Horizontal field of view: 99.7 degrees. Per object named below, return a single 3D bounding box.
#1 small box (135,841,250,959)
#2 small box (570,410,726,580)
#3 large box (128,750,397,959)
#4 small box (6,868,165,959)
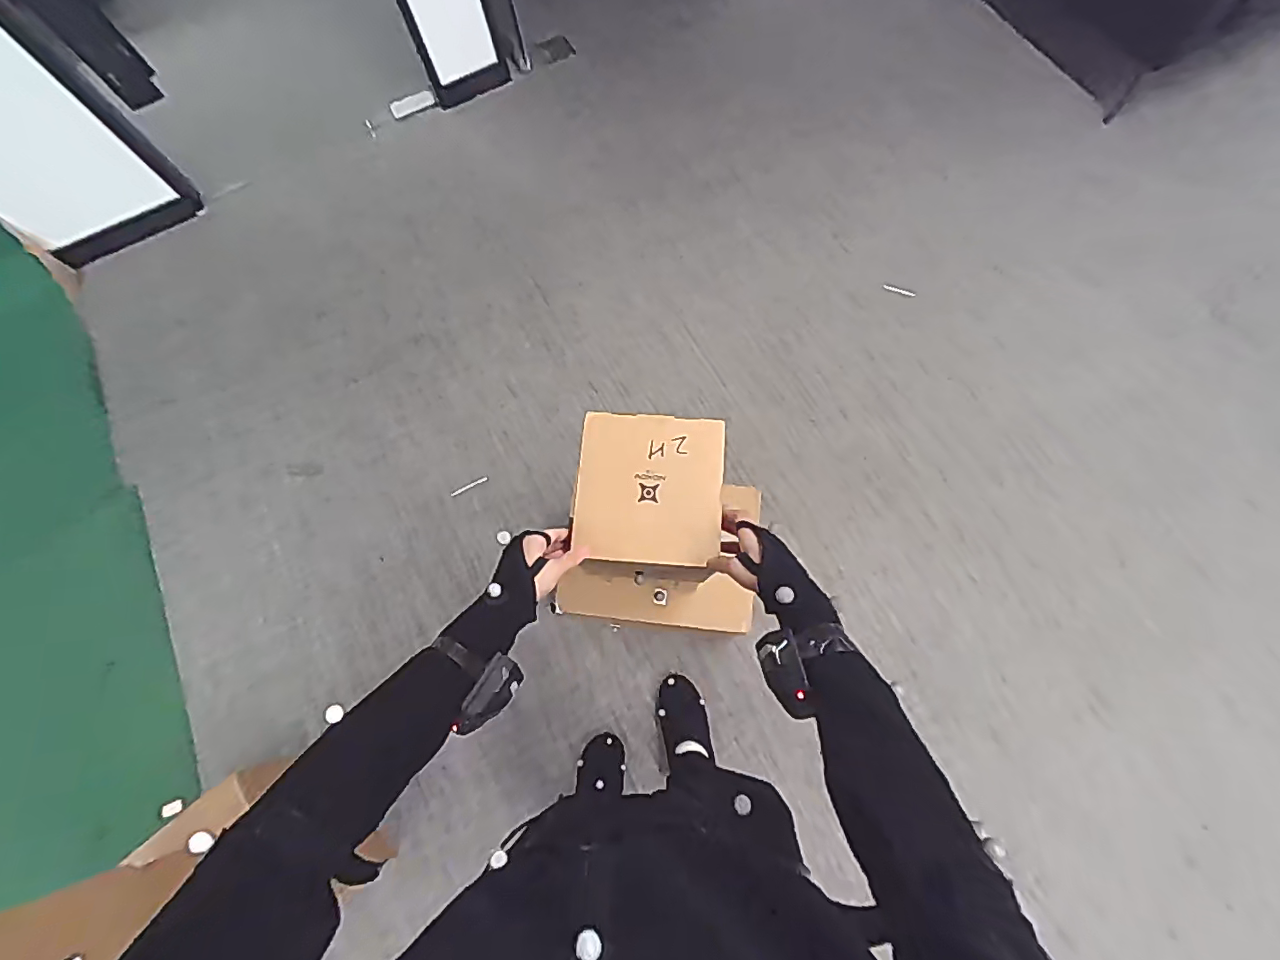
[{"bbox_3d":[-0.809,0.752,0.896,0.179,0.176,0.168,-37,74,-9],"label":"small box"},{"bbox_3d":[0.013,0.028,0.684,0.168,0.176,0.179,4,74,2],"label":"small box"},{"bbox_3d":[-0.813,0.848,1.123,0.408,0.320,0.320,-41,72,-8],"label":"large box"},{"bbox_3d":[-0.814,0.691,0.744,0.168,0.176,0.179,-35,73,-8],"label":"small box"}]
